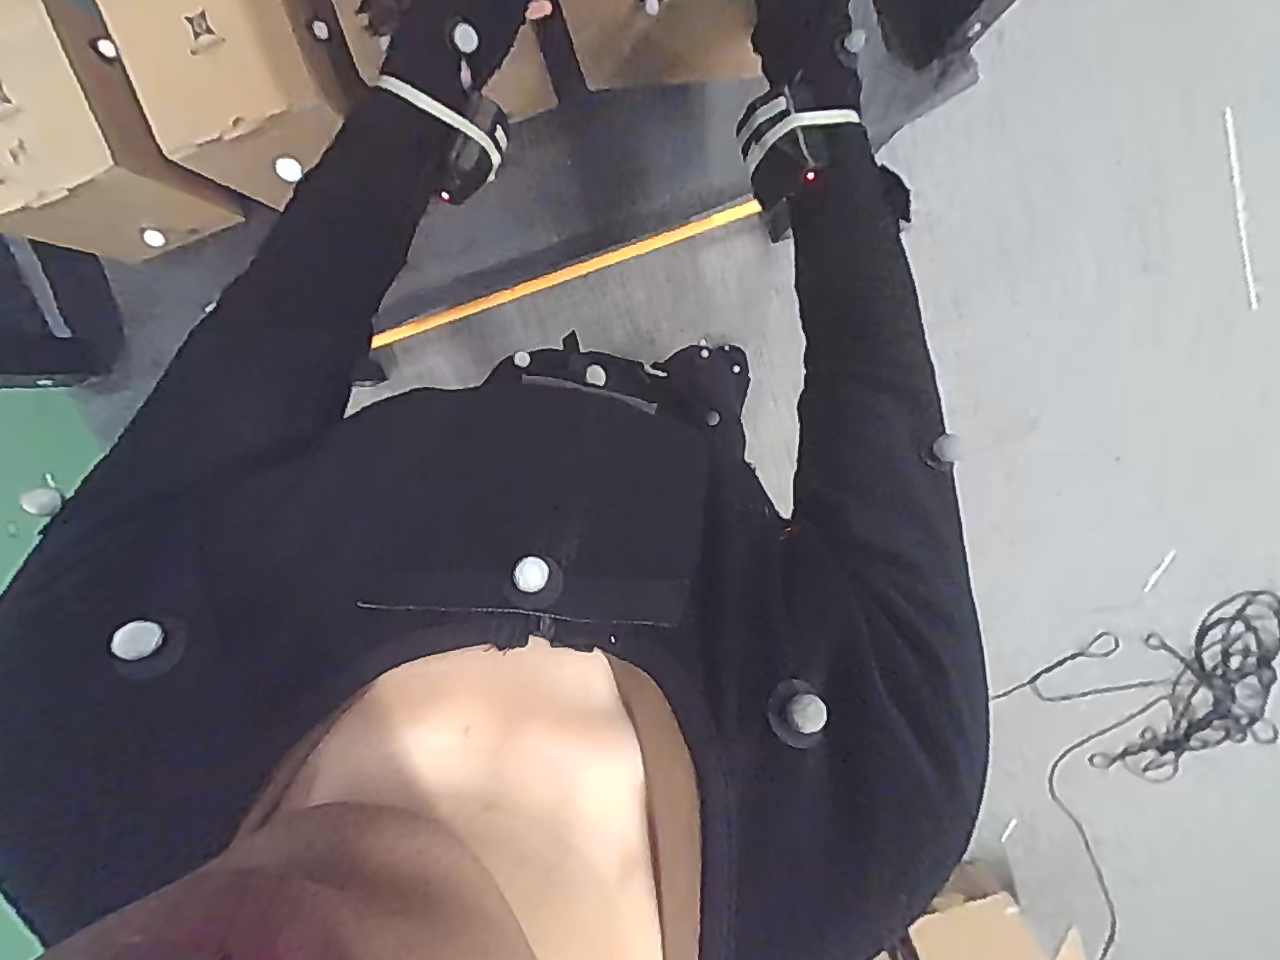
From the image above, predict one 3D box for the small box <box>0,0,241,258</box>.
[{"bbox_3d":[-0.599,-0.371,0.592,0.168,0.176,0.179,-18,99,4],"label":"small box"}]
